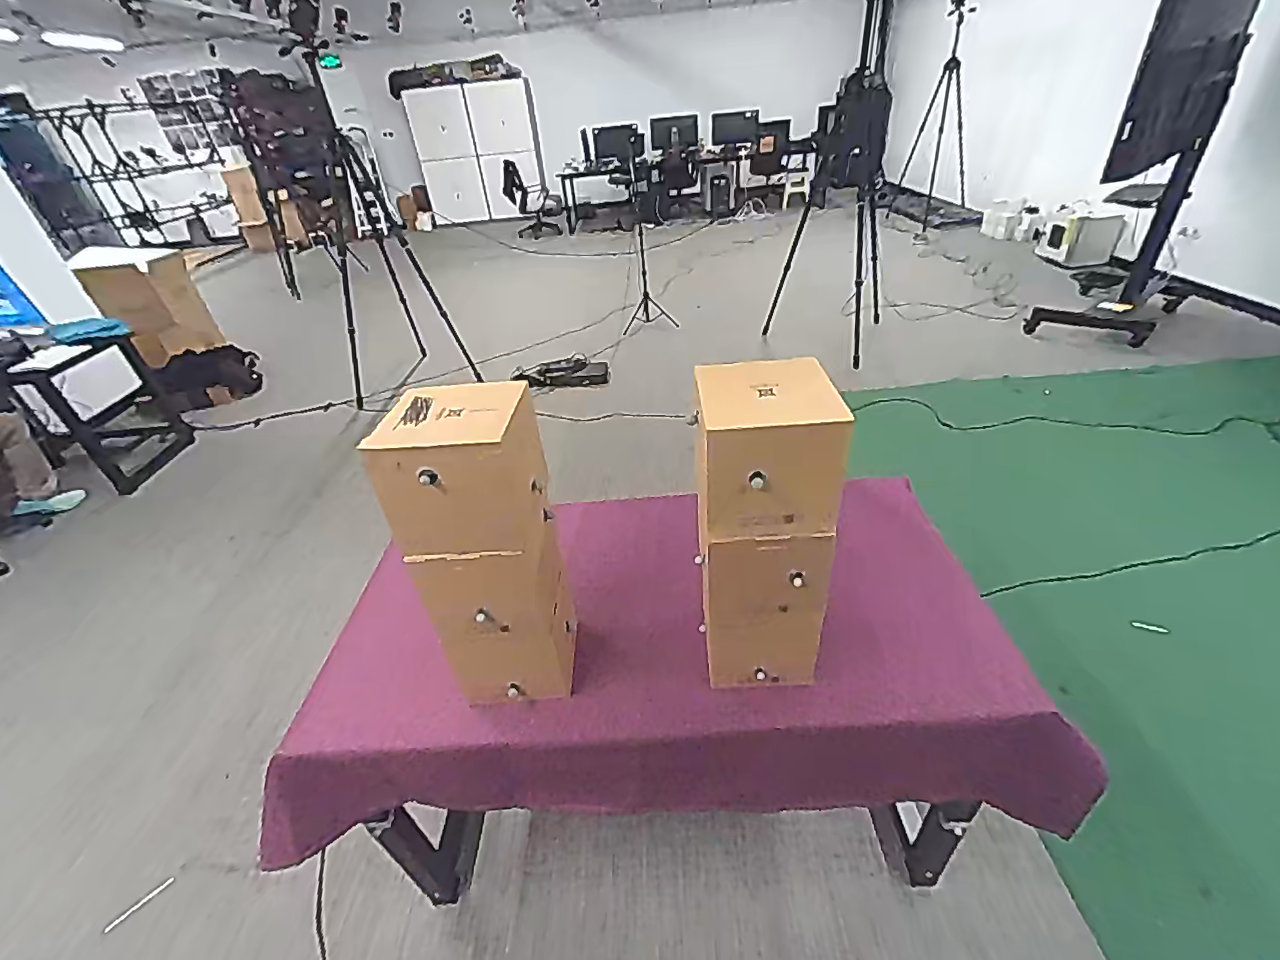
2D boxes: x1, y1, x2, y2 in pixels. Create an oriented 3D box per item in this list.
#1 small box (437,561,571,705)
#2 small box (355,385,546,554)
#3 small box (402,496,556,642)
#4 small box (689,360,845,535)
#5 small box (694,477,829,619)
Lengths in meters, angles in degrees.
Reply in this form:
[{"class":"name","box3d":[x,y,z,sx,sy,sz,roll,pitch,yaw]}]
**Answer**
[{"class":"small box","box3d":[-0.215,0.259,0.916,0.179,0.176,0.168,-5,35,1]},{"class":"small box","box3d":[-0.238,-0.013,0.730,0.179,0.176,0.168,-3,35,3]},{"class":"small box","box3d":[-0.229,0.121,0.825,0.168,0.176,0.179,-5,36,3]},{"class":"small box","box3d":[0.156,-0.040,0.713,0.168,0.176,0.179,-4,35,2]},{"class":"small box","box3d":[0.171,0.092,0.807,0.168,0.176,0.179,-4,35,2]}]
